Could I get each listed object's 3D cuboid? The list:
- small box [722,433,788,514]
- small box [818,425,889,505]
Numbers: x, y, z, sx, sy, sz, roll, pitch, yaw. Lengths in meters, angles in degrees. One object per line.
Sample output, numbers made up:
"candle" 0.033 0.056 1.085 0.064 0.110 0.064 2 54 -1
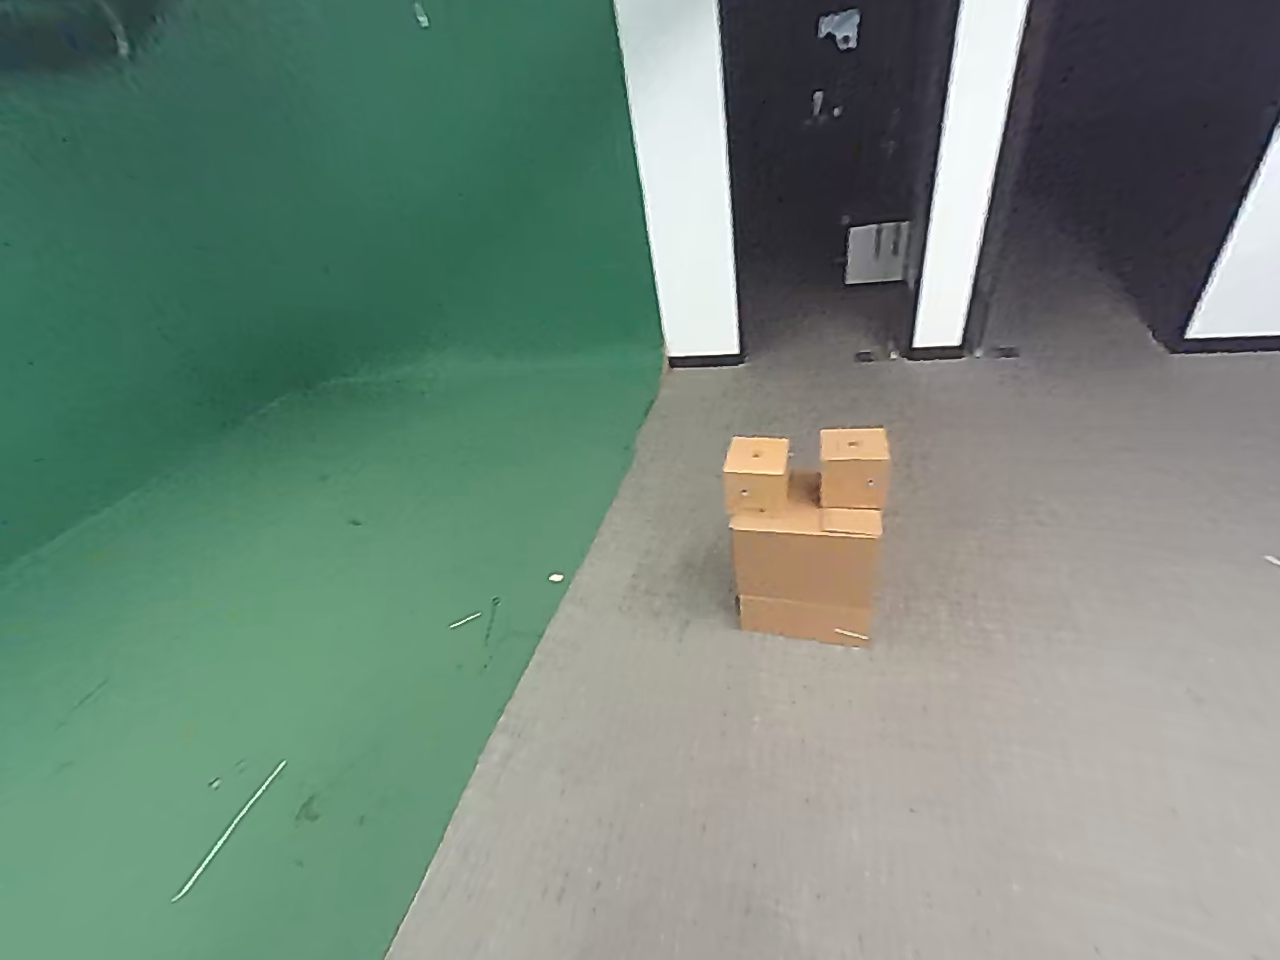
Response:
"small box" 0.343 -0.020 1.593 0.168 0.176 0.179 5 40 18
"small box" 0.609 -0.043 1.553 0.179 0.176 0.168 1 37 19
